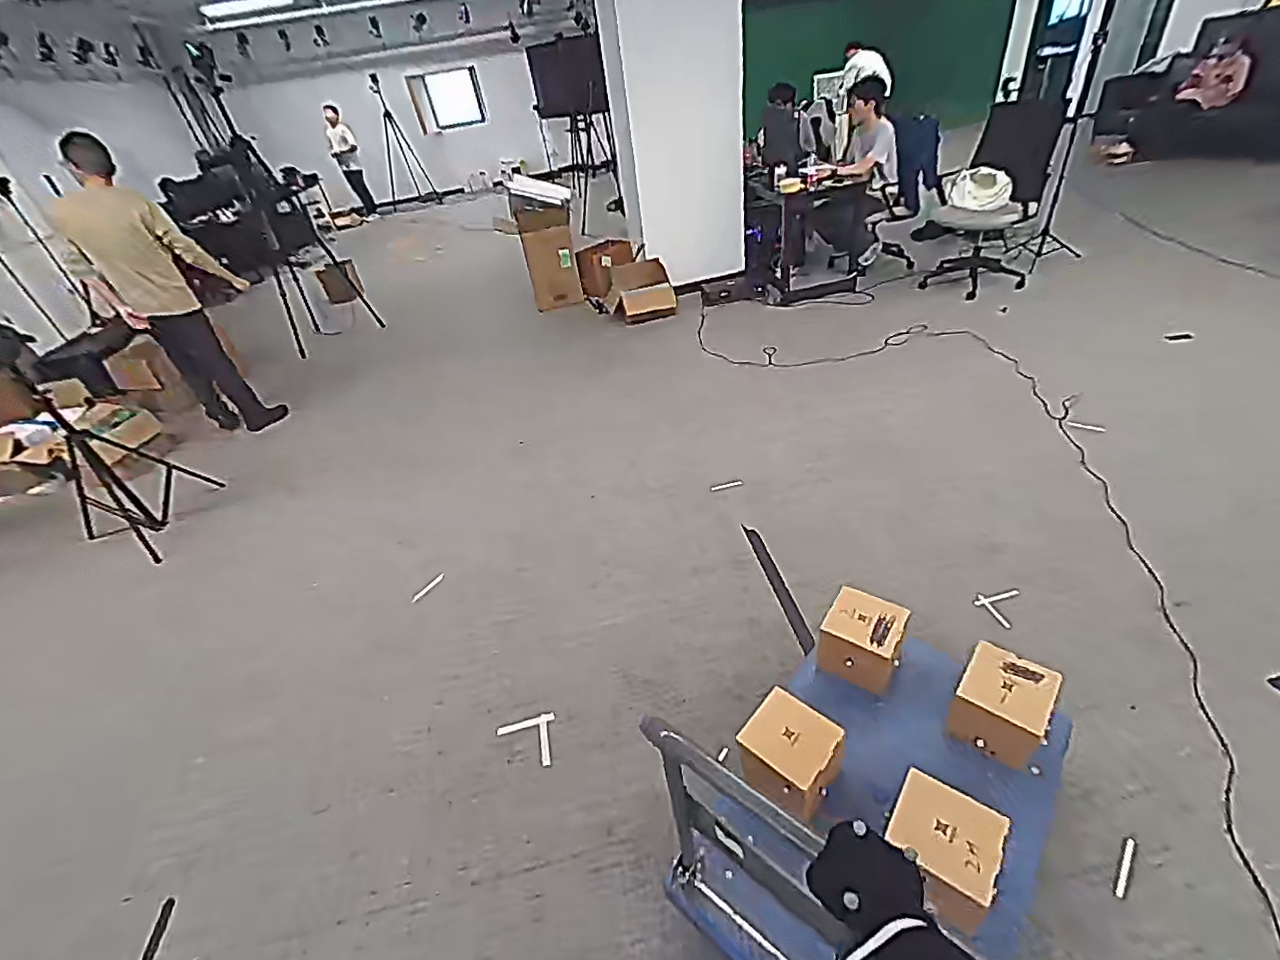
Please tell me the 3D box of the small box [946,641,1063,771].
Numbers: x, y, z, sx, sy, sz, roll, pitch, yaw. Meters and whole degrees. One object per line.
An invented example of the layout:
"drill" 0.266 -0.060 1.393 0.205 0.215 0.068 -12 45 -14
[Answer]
"small box" 0.824 0.514 1.233 0.168 0.176 0.179 23 49 36

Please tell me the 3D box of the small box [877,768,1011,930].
"small box" 0.573 0.707 1.037 0.179 0.176 0.168 20 46 34

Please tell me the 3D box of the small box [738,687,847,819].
"small box" 0.338 0.615 1.217 0.179 0.176 0.168 26 50 36
